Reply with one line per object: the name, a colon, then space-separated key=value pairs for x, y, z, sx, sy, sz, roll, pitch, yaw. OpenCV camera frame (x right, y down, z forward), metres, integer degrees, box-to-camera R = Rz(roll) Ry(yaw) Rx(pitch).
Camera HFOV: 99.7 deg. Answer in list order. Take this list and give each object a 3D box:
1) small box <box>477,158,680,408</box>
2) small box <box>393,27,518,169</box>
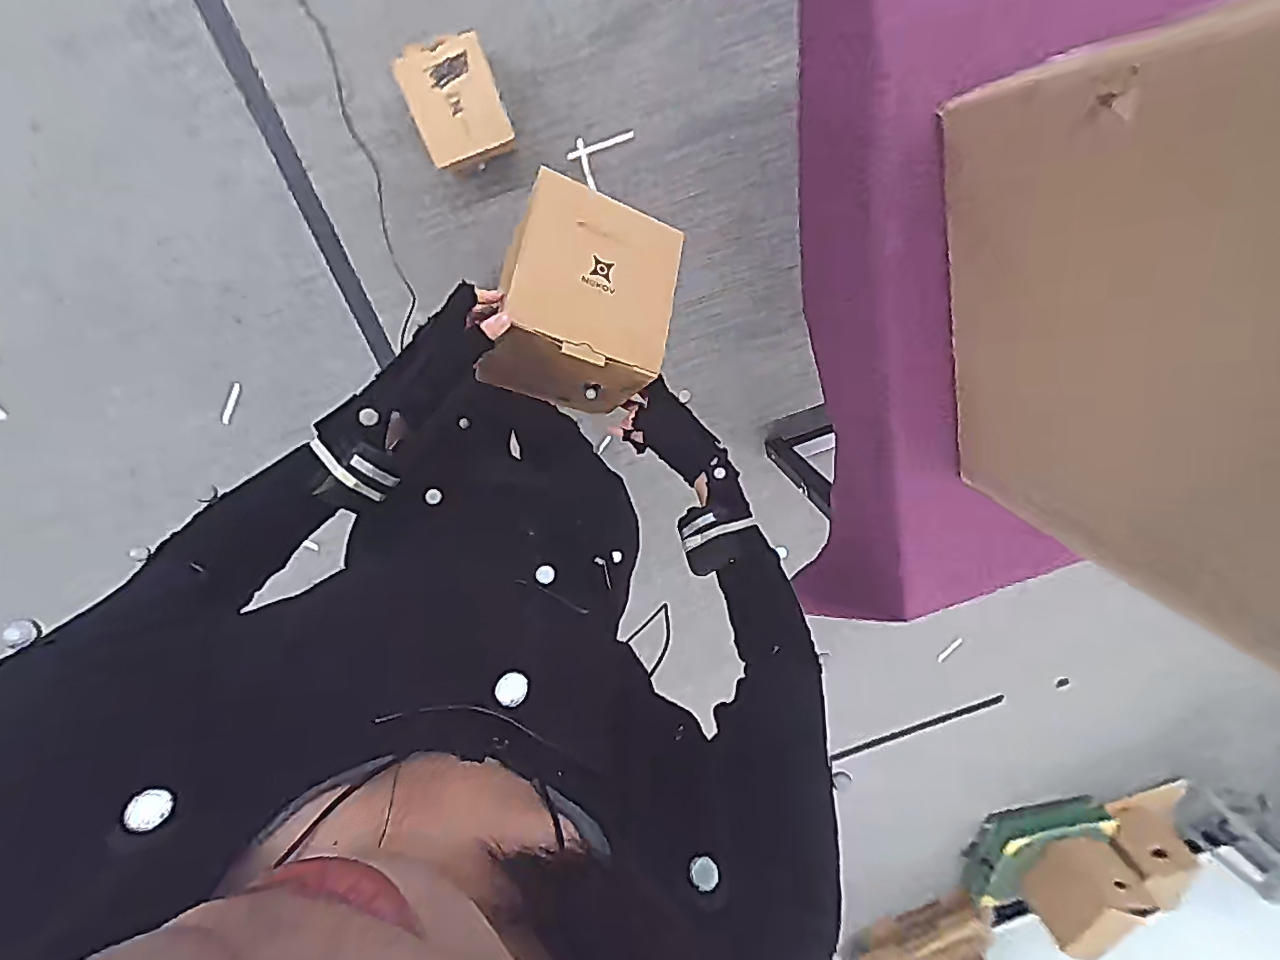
small box: x=-0.076 y=-0.199 z=0.604 sx=0.168 sy=0.176 sz=0.179 roll=15 pitch=74 yaw=-23
small box: x=-0.351 y=-0.737 z=1.063 sx=0.168 sy=0.176 sz=0.179 roll=-20 pitch=118 yaw=0
